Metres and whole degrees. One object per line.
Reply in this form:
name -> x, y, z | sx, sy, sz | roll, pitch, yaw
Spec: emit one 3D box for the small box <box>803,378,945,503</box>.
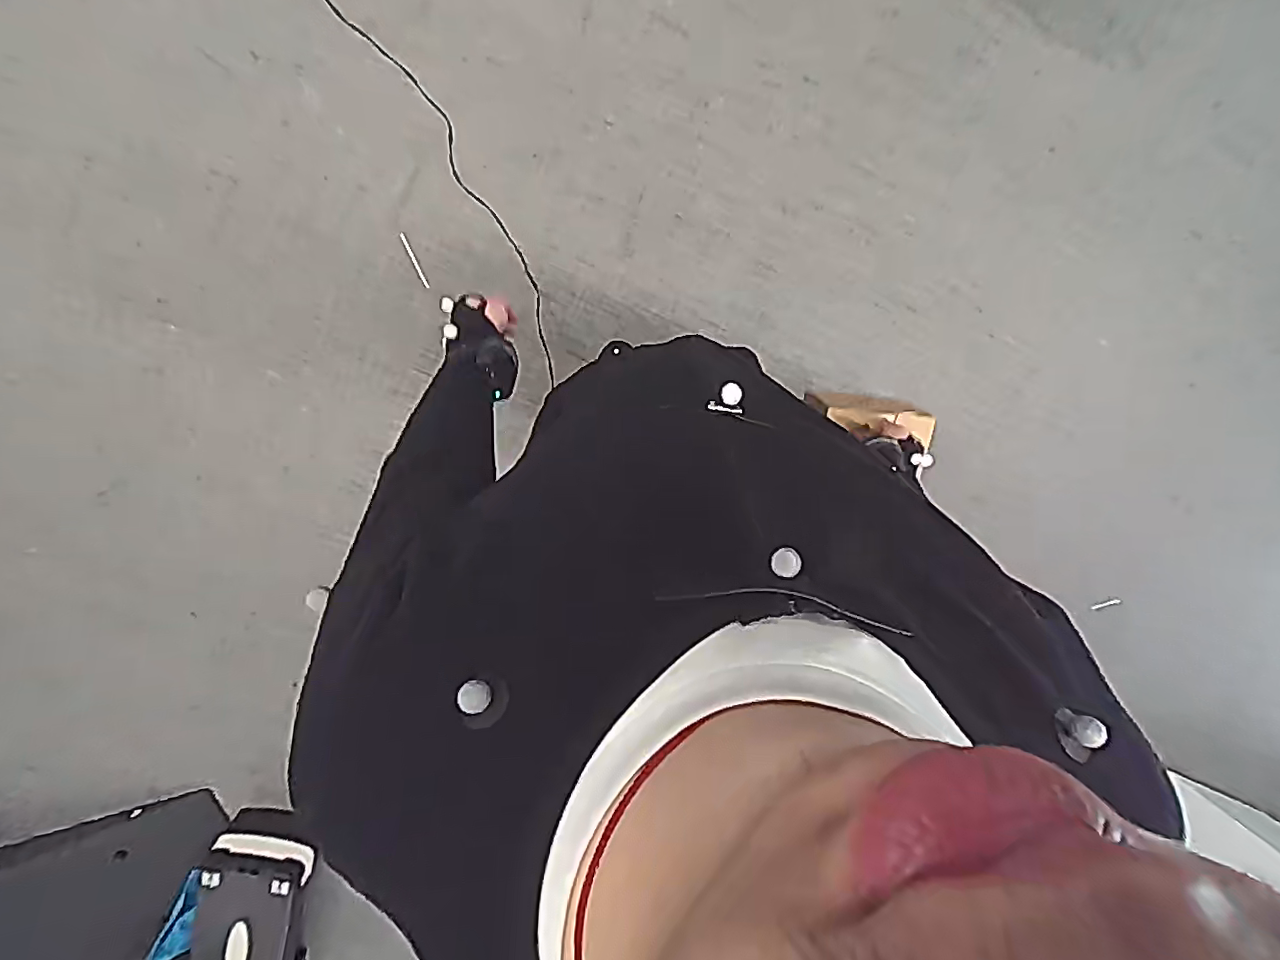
small box -> 0.384, -0.070, 0.919 | 0.168, 0.179, 0.176 | 3, 114, 4
